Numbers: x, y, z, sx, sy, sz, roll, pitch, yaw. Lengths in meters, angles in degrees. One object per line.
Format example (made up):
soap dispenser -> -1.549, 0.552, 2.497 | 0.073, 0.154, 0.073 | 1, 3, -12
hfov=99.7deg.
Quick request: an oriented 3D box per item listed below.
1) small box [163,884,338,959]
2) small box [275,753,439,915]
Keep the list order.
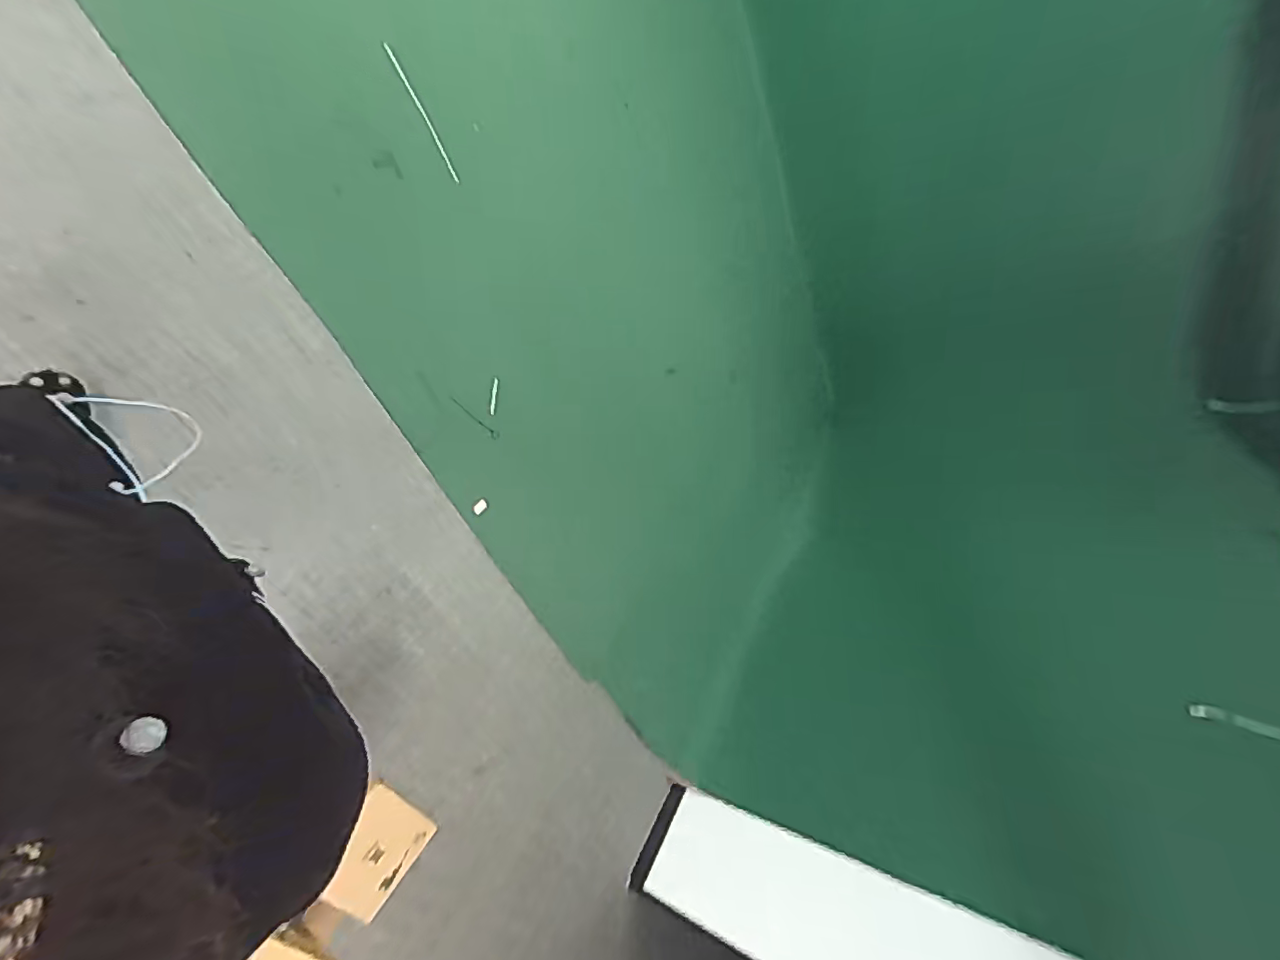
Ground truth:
small box -> -0.624, 0.787, 0.855 | 0.168, 0.176, 0.179 | -53, 130, -36
small box -> -0.514, 0.627, 0.982 | 0.168, 0.176, 0.179 | -51, 127, -35
